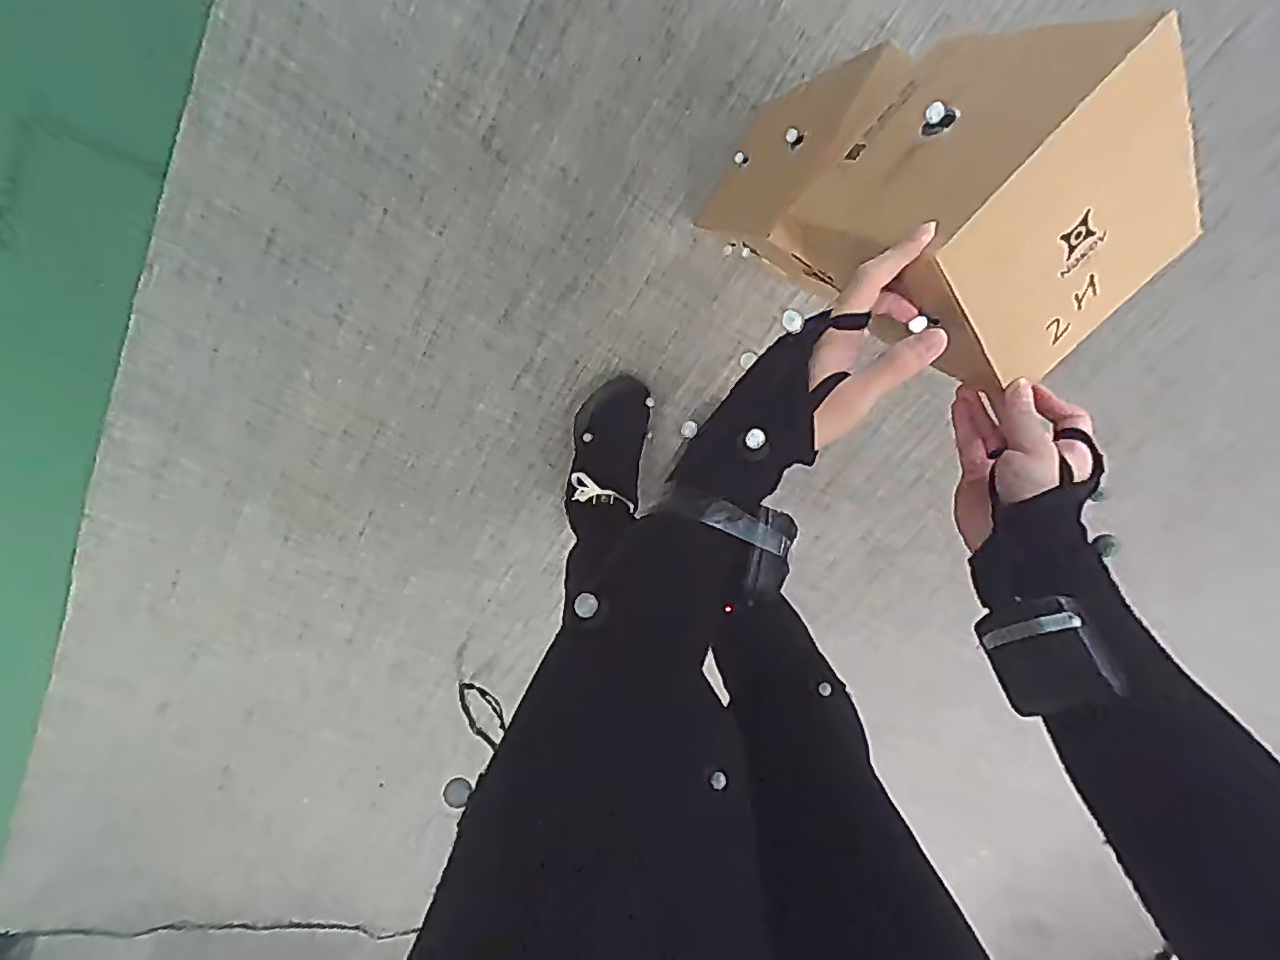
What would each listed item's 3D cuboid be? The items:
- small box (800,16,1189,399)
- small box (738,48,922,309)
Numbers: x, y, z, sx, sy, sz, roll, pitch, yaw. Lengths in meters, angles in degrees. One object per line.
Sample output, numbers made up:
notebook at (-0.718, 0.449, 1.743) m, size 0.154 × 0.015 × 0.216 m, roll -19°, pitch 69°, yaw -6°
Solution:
small box at (0.262, -0.200, 0.425) m, size 0.179 × 0.176 × 0.168 m, roll 33°, pitch 106°, yaw -36°
small box at (0.224, -0.295, 0.575) m, size 0.168 × 0.176 × 0.179 m, roll 25°, pitch 110°, yaw -19°
